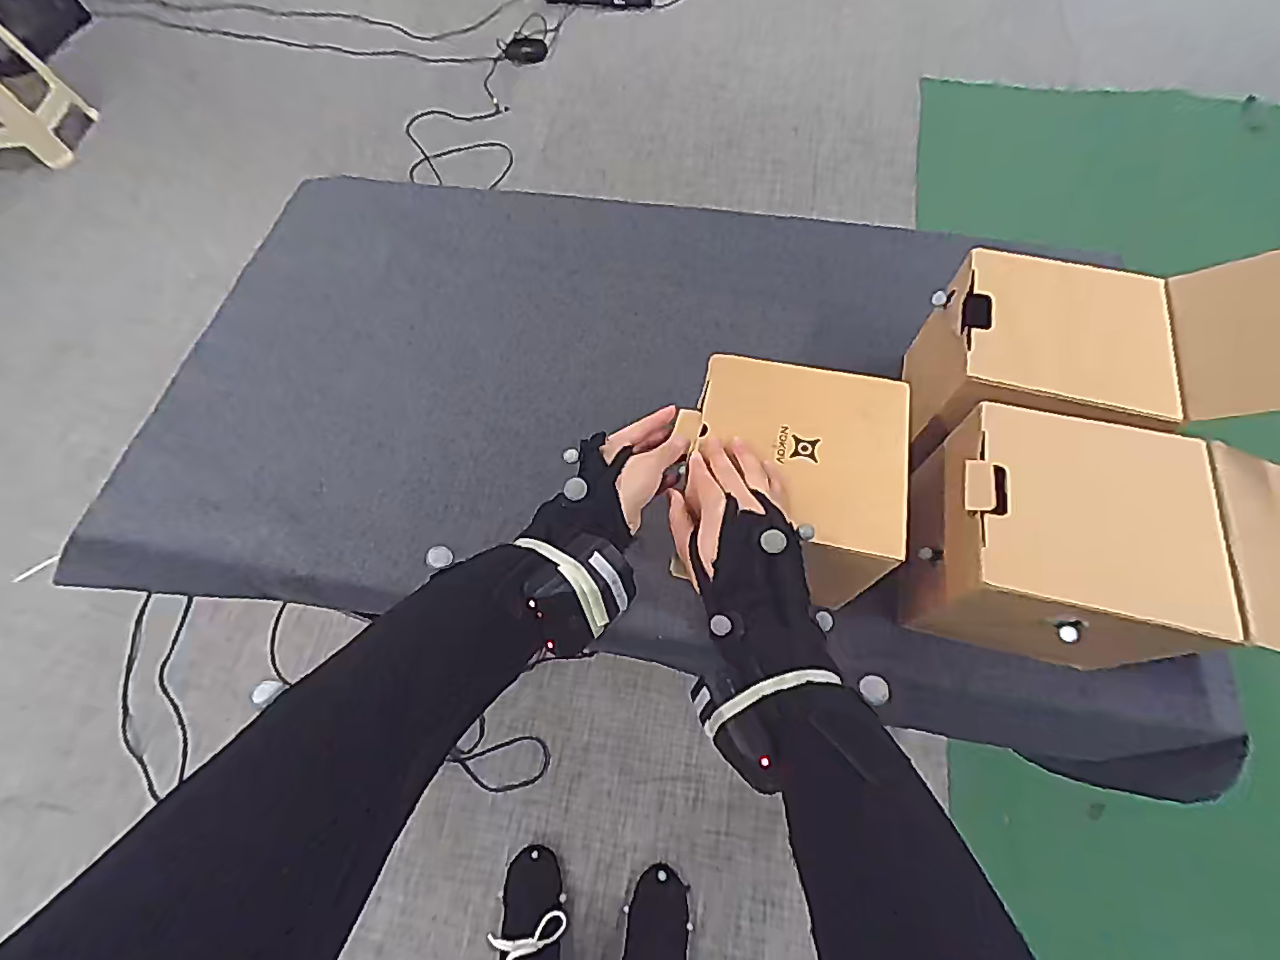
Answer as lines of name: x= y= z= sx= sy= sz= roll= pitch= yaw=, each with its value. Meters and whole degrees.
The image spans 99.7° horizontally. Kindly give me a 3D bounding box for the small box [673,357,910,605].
small box: x=0.132 y=0.011 z=0.516 sx=0.179 sy=0.176 sz=0.168 roll=11 pitch=65 yaw=9
